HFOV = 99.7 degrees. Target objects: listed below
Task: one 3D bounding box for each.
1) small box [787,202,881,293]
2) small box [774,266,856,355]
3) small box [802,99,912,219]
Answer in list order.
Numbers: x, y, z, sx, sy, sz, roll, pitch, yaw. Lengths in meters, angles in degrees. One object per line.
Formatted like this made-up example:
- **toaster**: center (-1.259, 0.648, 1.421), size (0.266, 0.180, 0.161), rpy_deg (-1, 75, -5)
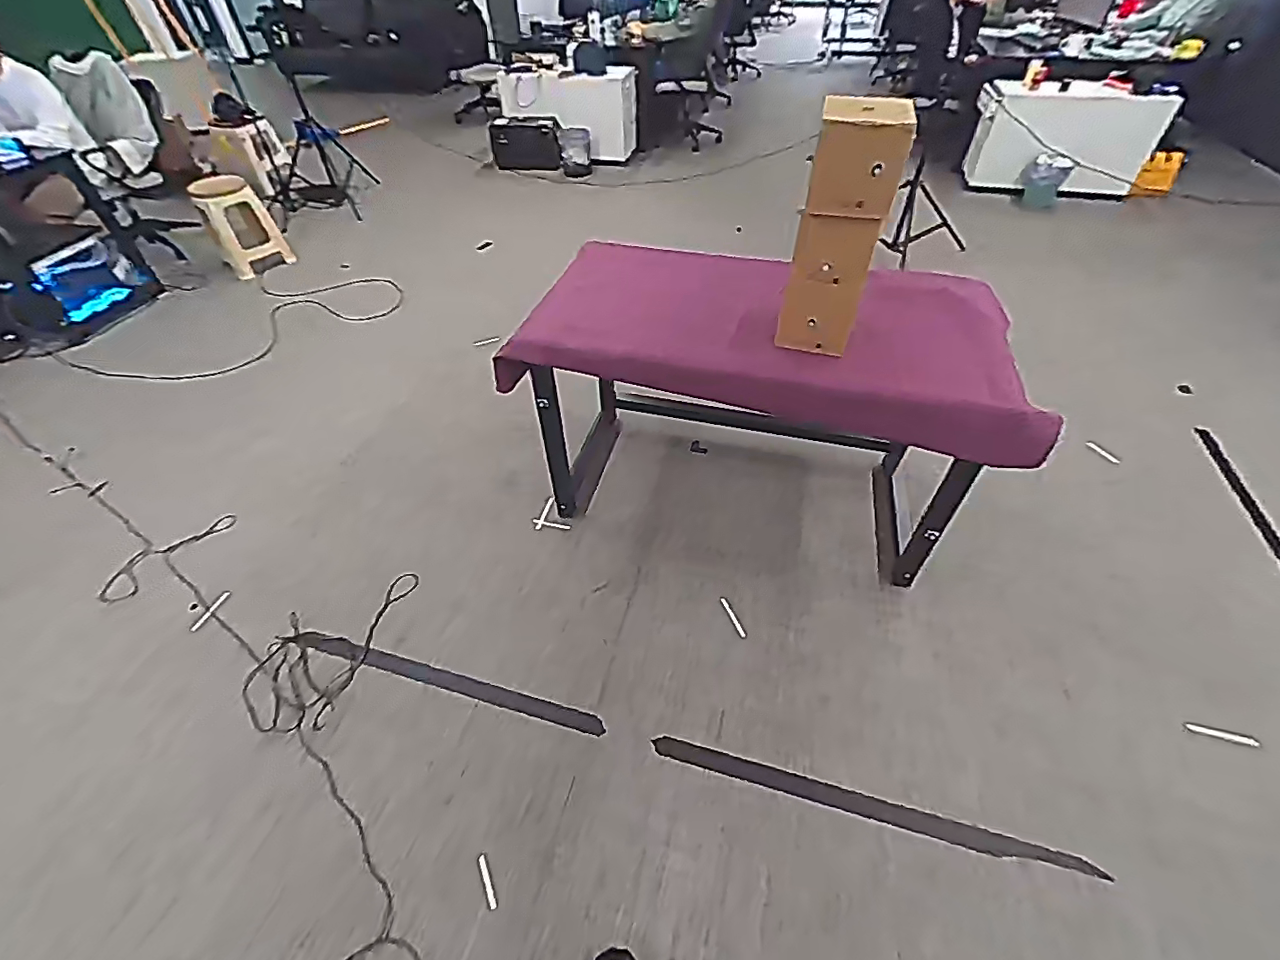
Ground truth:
- **small box**: center (0.433, -0.545, 1.214), size (0.168, 0.176, 0.179), rpy_deg (12, 49, 13)
- **small box**: center (0.432, -0.431, 1.332), size (0.168, 0.176, 0.179), rpy_deg (13, 48, 13)
- **small box**: center (0.426, -0.641, 1.081), size (0.168, 0.176, 0.179), rpy_deg (11, 47, 10)
